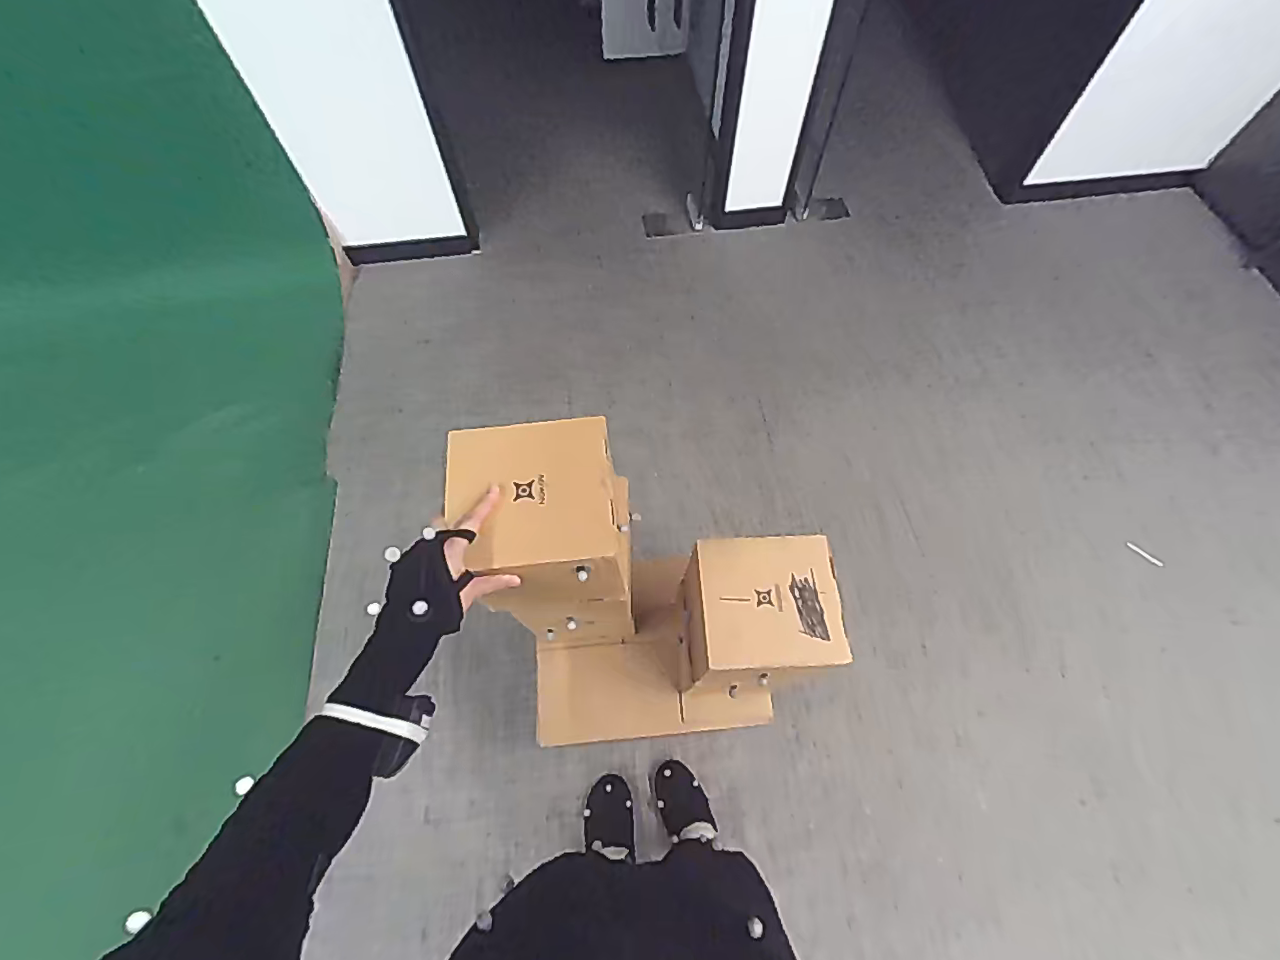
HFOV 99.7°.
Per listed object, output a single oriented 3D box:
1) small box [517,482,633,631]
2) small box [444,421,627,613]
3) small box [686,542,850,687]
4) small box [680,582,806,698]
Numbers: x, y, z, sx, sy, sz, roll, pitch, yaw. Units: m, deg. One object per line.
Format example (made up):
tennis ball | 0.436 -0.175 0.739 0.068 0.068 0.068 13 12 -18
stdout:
small box | -0.097 0.115 0.791 0.168 0.176 0.179 -1 64 1
small box | -0.114 0.051 0.639 0.179 0.176 0.168 -7 63 -2
small box | 0.162 0.191 0.749 0.179 0.176 0.168 -2 63 -1
small box | 0.157 0.266 0.894 0.179 0.176 0.168 -3 65 -1
